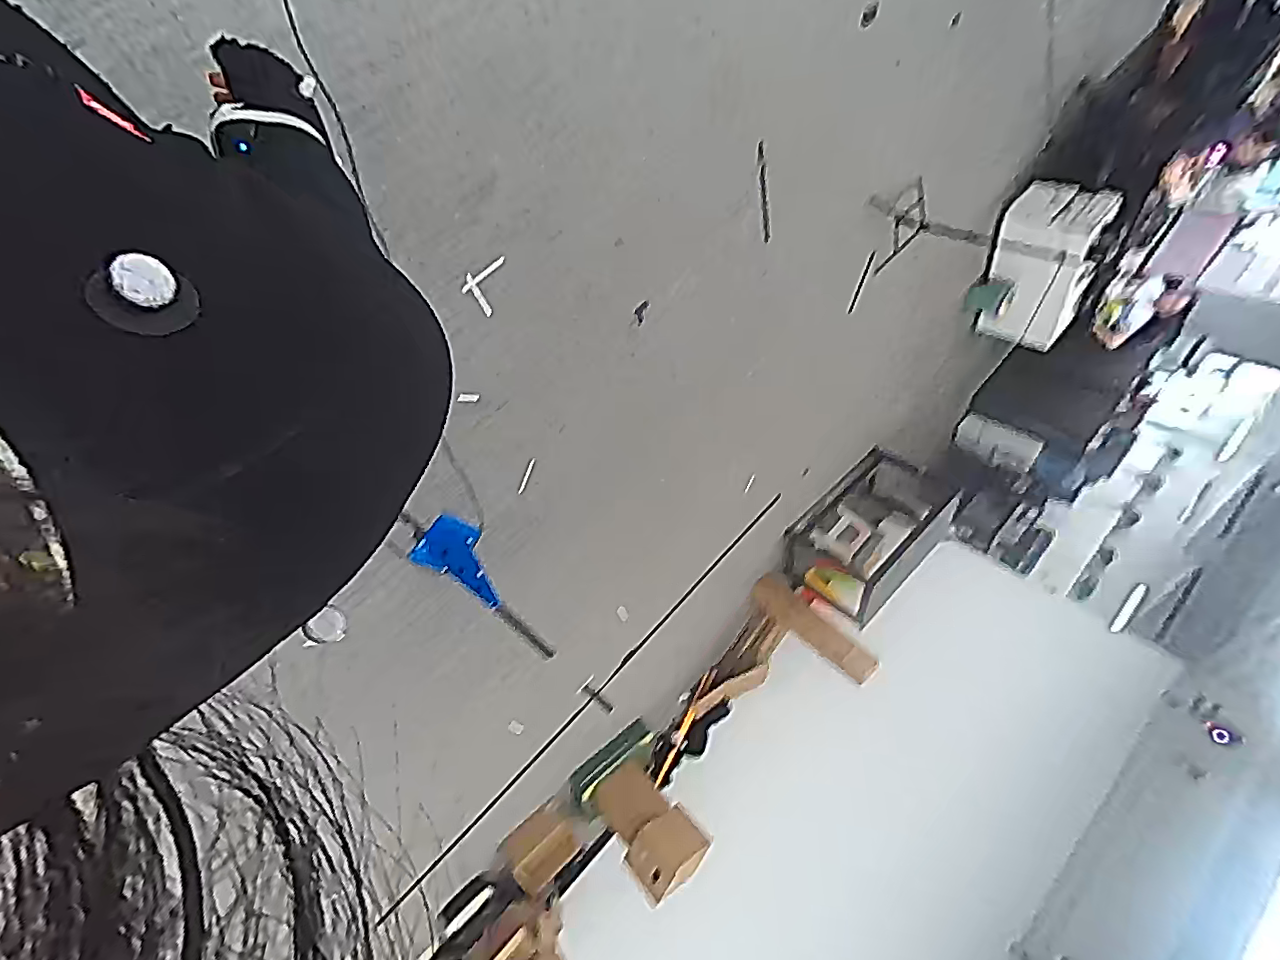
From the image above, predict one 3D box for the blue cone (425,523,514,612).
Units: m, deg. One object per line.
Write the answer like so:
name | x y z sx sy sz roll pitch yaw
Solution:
blue cone | -0.544 0.320 1.820 0.193 0.380 0.192 -55 143 -3
